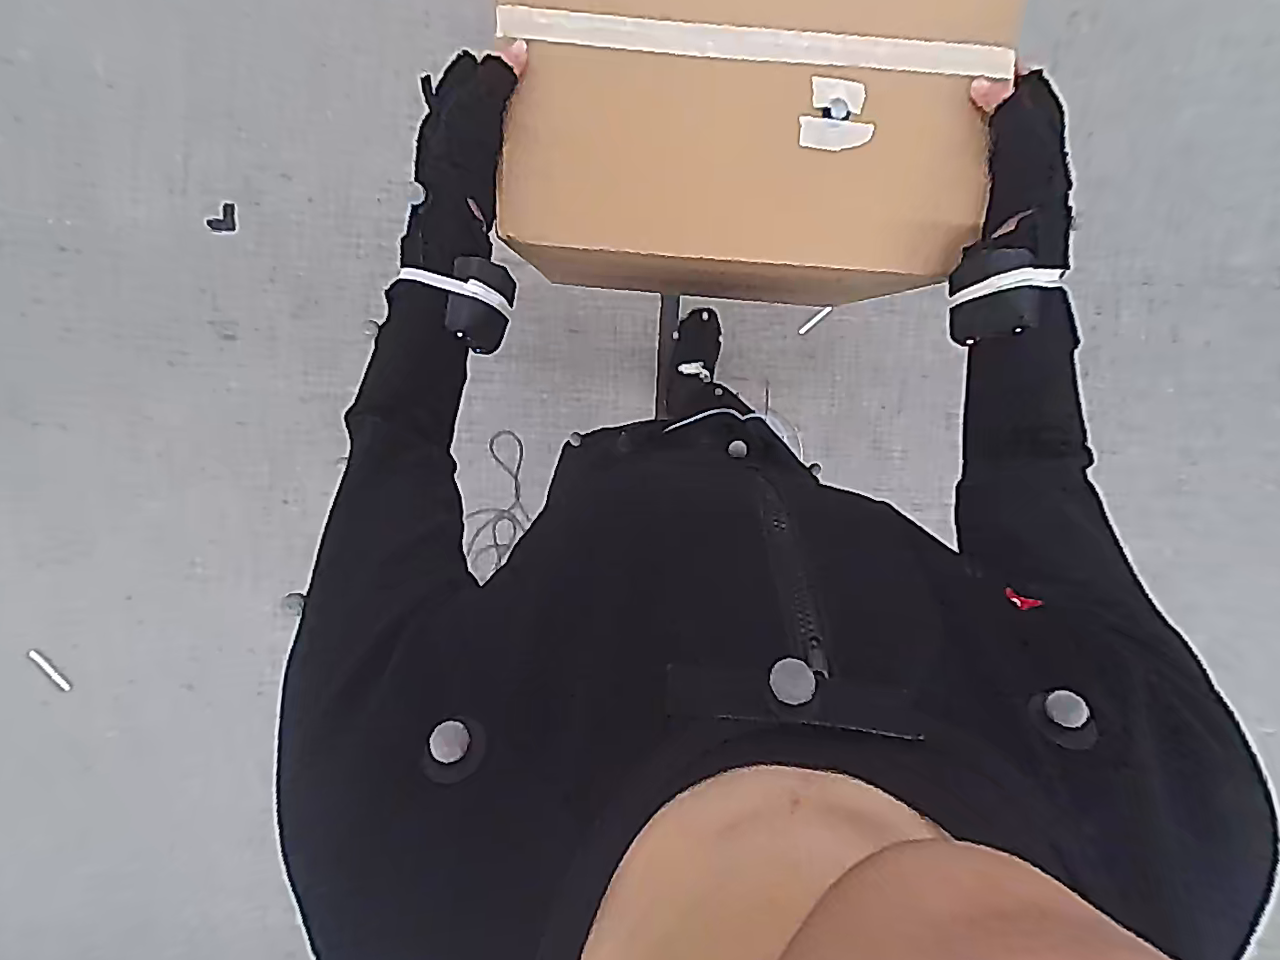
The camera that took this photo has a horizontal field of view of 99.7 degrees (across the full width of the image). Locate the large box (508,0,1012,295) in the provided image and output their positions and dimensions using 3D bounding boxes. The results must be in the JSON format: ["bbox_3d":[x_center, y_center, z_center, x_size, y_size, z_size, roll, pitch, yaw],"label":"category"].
[{"bbox_3d":[0.089,-0.384,0.578,0.408,0.320,0.320,4,105,-3],"label":"large box"}]
